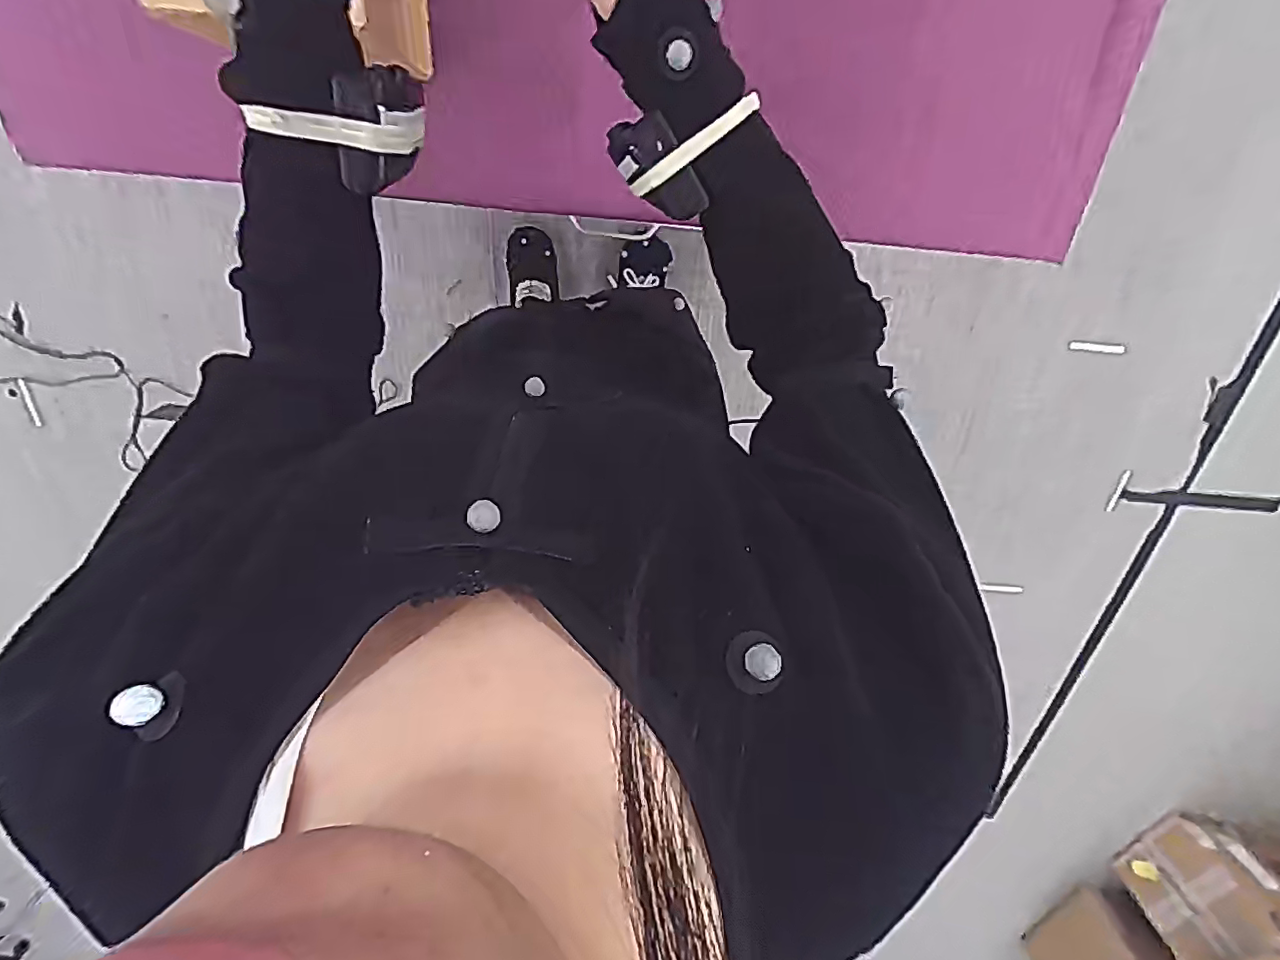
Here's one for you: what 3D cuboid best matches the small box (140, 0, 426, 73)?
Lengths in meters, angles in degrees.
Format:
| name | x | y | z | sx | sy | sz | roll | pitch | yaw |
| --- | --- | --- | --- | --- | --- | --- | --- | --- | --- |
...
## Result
| name | x | y | z | sx | sy | sz | roll | pitch | yaw |
| --- | --- | --- | --- | --- | --- | --- | --- | --- | --- |
| small box | -0.295 | -0.469 | 0.459 | 0.179 | 0.176 | 0.168 | 3 | 115 | -2 |
